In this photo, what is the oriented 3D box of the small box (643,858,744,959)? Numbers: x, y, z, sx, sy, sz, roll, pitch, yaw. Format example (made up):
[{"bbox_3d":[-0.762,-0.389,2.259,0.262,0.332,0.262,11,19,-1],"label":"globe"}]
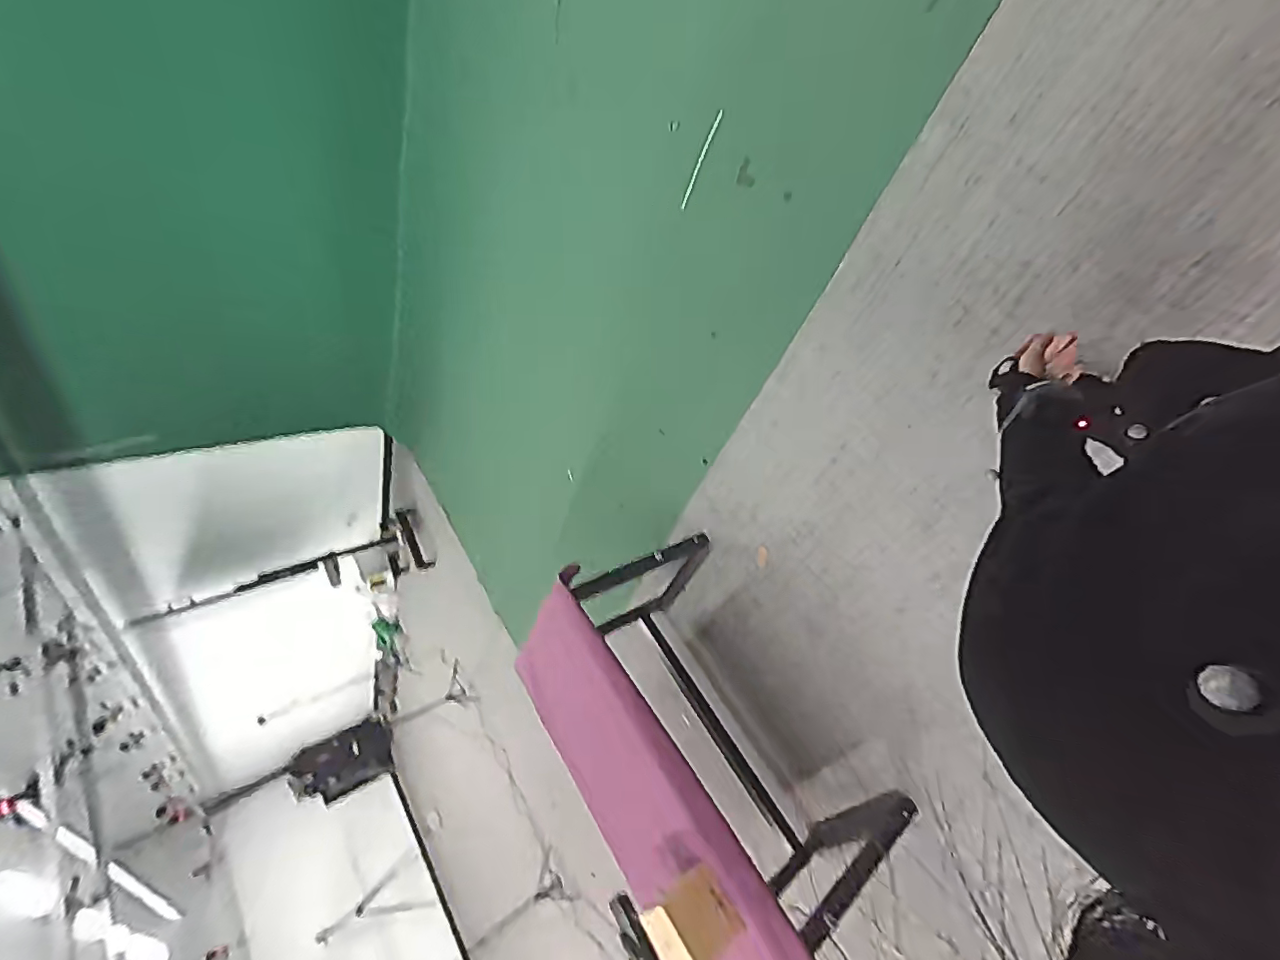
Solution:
[{"bbox_3d":[0.141,1.138,1.415,0.168,0.176,0.179,51,136,25],"label":"small box"}]
